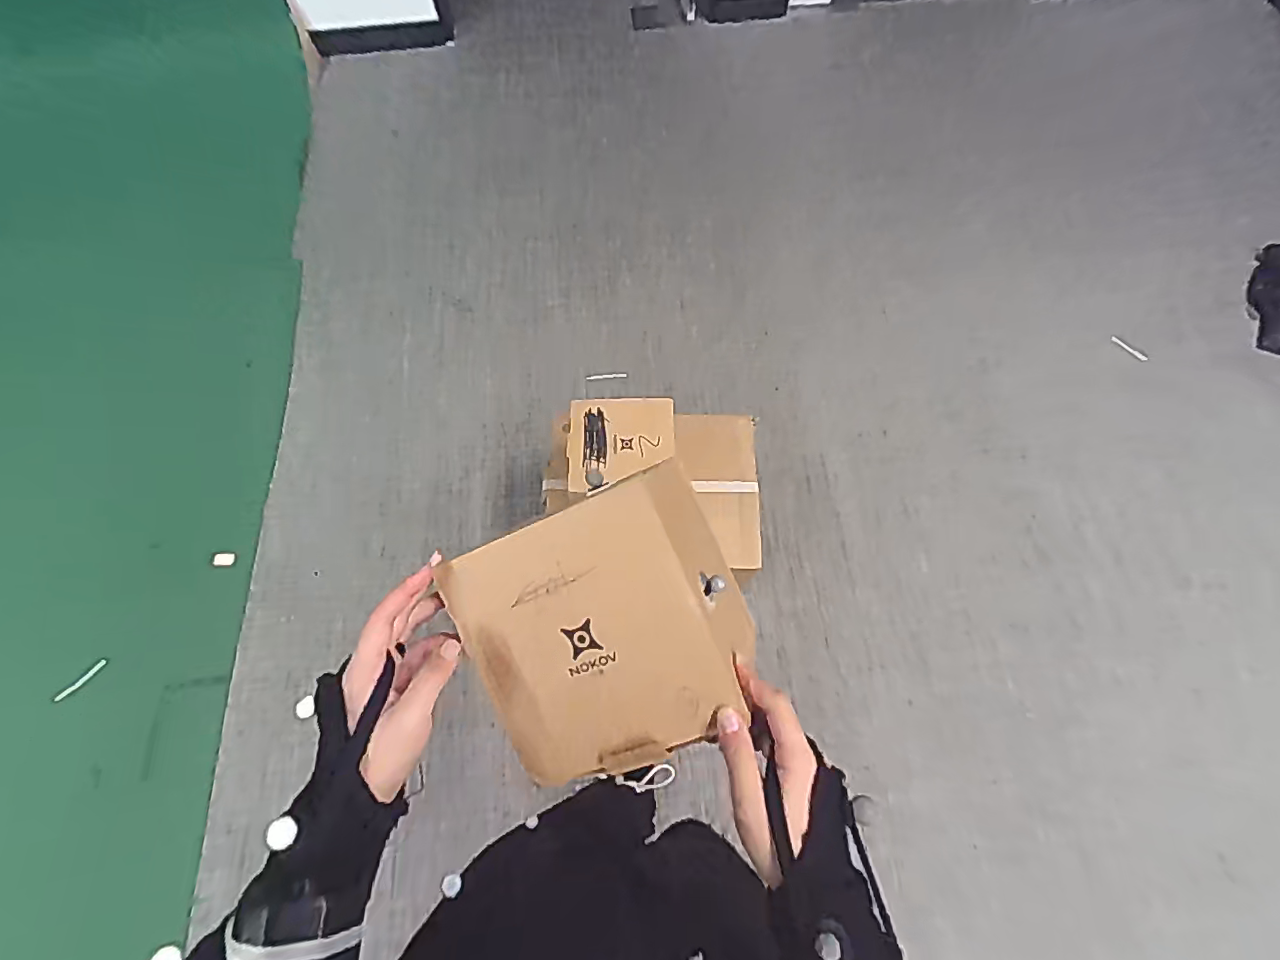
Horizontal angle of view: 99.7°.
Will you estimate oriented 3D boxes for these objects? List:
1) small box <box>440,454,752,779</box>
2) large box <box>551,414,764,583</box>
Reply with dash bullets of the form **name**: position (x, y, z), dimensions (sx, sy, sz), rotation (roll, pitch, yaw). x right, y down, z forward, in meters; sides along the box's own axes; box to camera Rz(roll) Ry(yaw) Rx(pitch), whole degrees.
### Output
- **small box**: position (-0.016, 0.092, 0.436), dimensions (0.168, 0.176, 0.179), rotation (-24, 92, 14)
- **large box**: position (0.027, 0.065, 1.174), dimensions (0.408, 0.320, 0.320), rotation (1, 70, 0)
